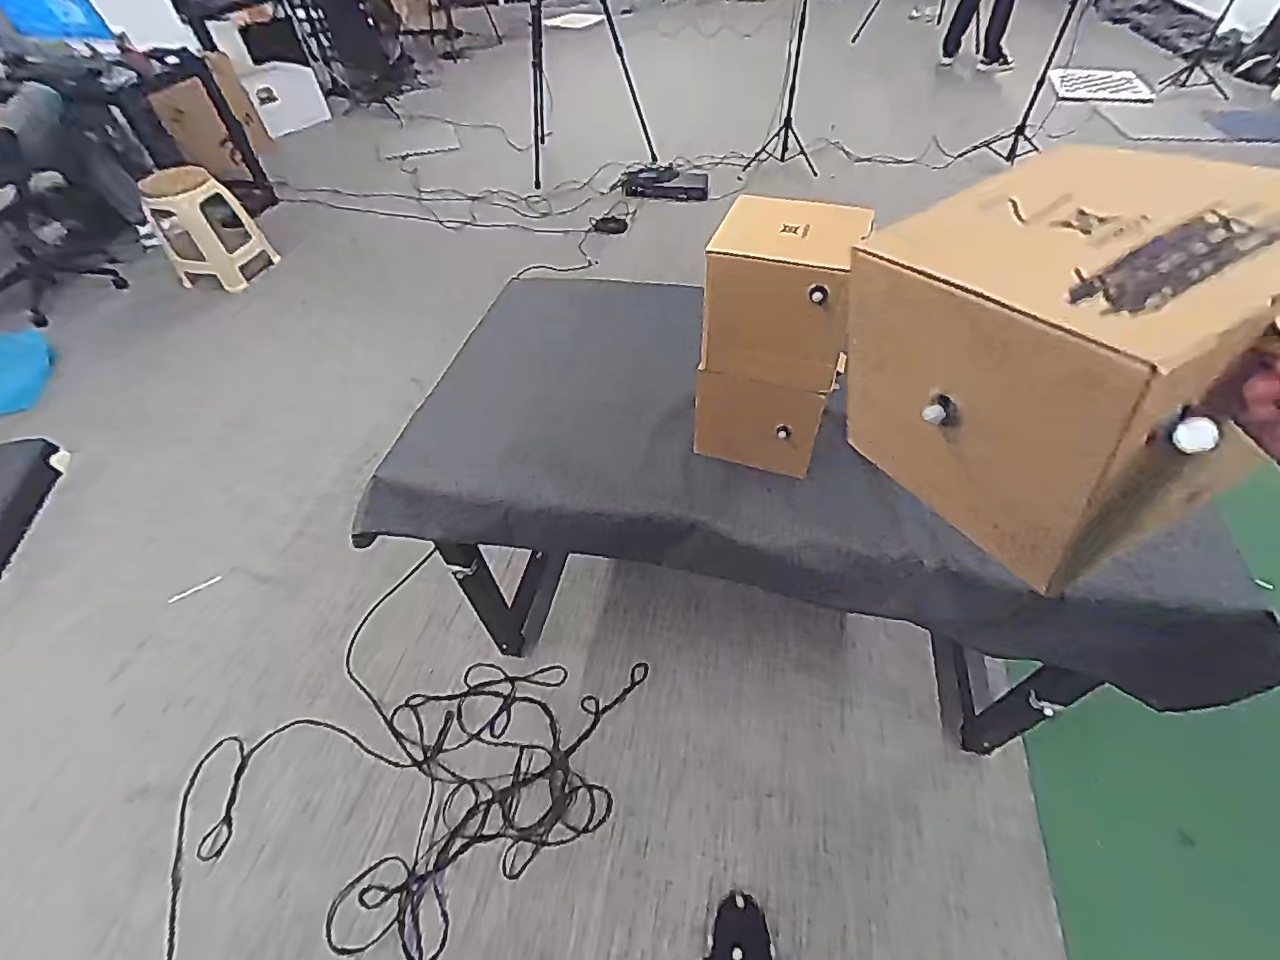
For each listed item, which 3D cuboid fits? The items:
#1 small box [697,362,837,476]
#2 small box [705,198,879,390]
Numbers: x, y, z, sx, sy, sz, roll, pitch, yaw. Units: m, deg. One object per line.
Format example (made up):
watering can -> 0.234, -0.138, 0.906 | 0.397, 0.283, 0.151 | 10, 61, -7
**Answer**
small box -> 0.194, -0.129, 0.818 | 0.179, 0.176, 0.168 | 14, 51, 16
small box -> 0.188, -0.238, 0.698 | 0.179, 0.176, 0.168 | 15, 51, 15
